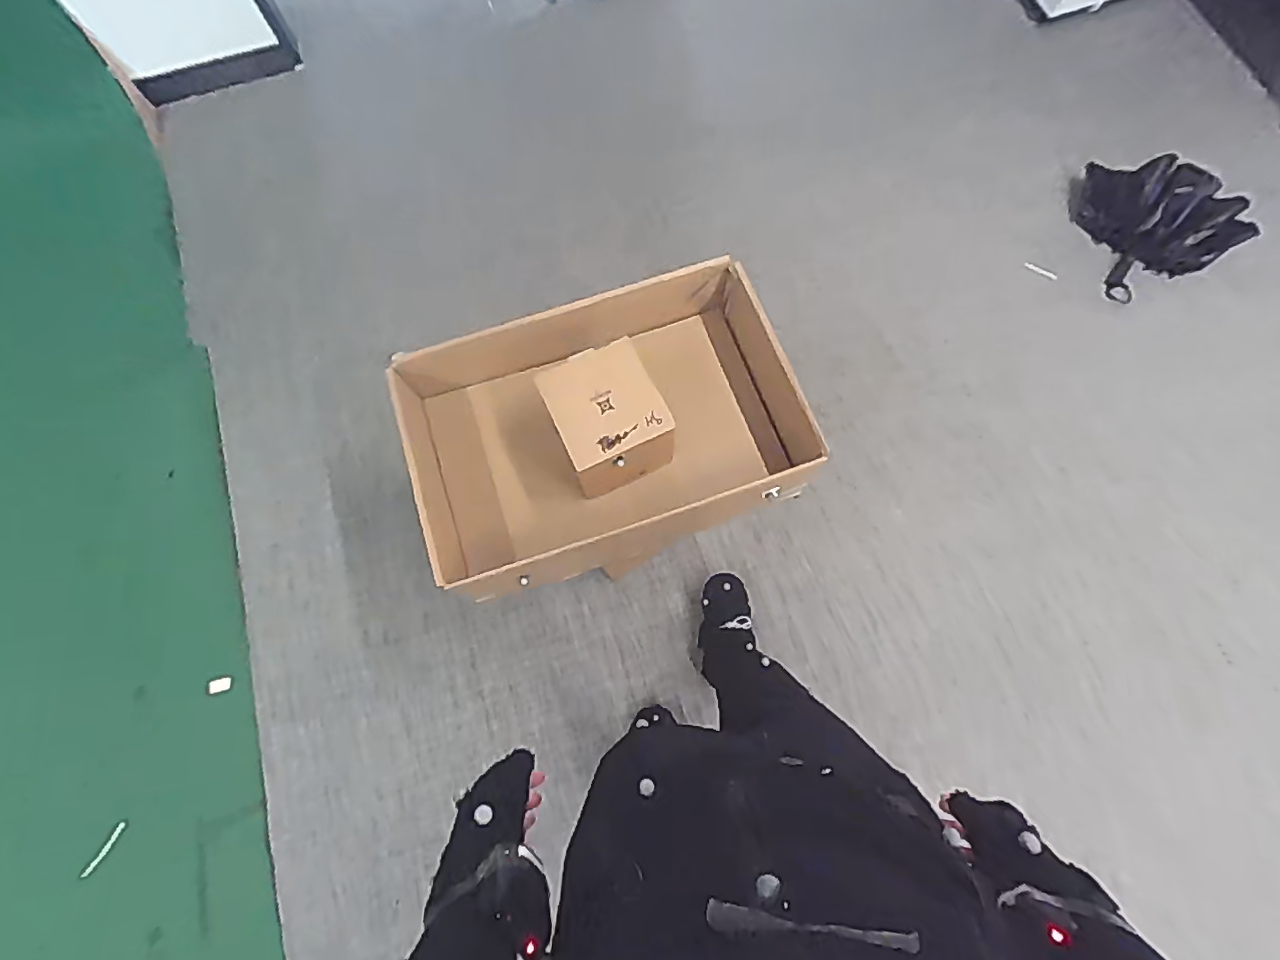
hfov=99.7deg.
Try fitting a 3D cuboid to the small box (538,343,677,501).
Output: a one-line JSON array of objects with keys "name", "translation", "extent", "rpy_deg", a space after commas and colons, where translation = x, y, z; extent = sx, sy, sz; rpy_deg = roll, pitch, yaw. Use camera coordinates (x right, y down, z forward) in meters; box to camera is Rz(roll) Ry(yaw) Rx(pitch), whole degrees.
[{"name": "small box", "translation": [-0.051, -0.089, 0.904], "extent": [0.168, 0.176, 0.179], "rpy_deg": [-26, 73, -5]}]
